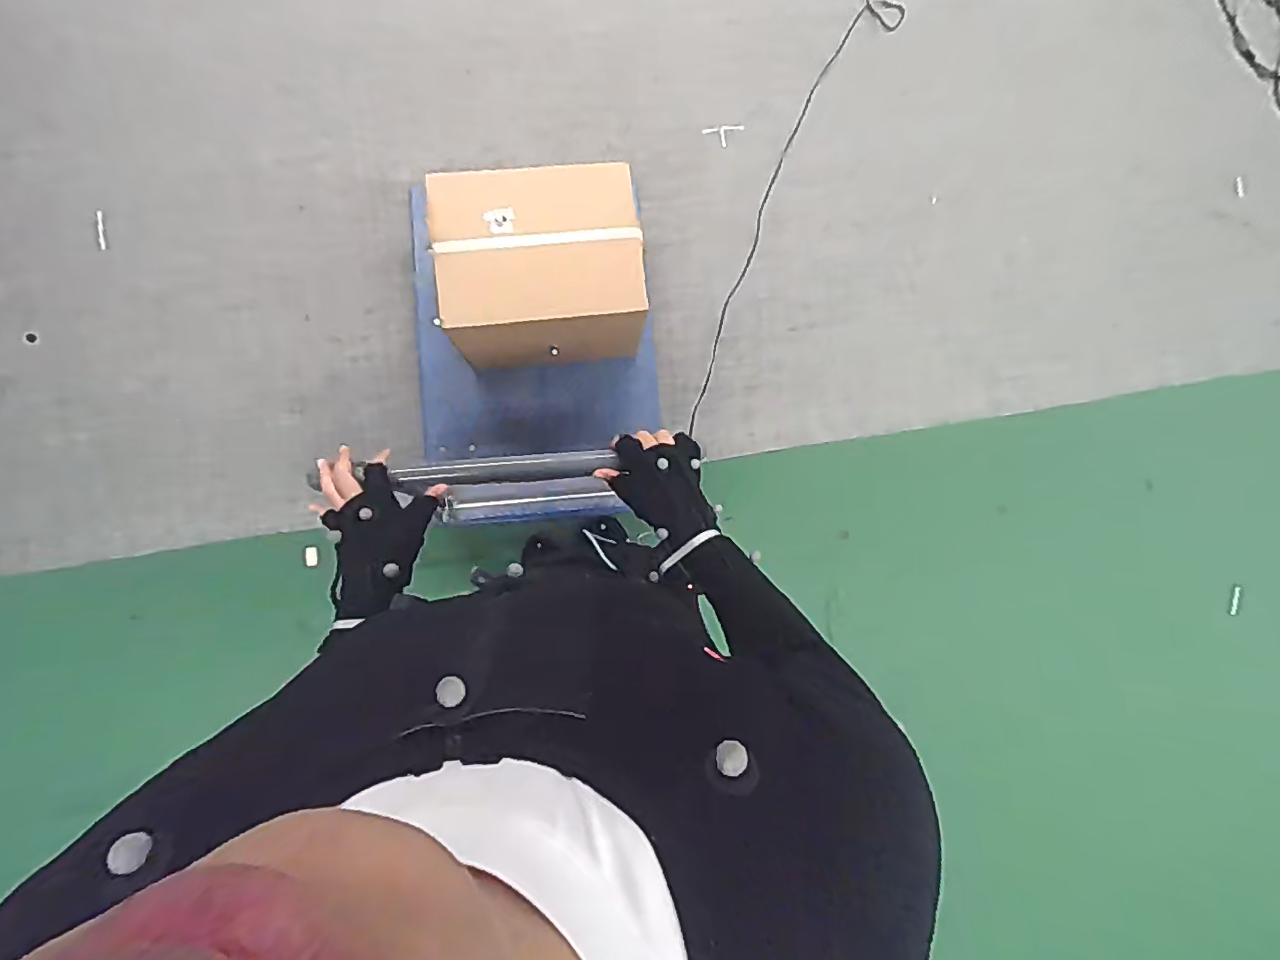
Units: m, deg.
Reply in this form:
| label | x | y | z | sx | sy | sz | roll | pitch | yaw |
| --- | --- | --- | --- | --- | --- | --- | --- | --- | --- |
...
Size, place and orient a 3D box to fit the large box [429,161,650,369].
| label | x | y | z | sx | sy | sz | roll | pitch | yaw |
| --- | --- | --- | --- | --- | --- | --- | --- | --- | --- |
| large box | -0.207 | -0.453 | 1.205 | 0.408 | 0.320 | 0.320 | -7 | 85 | -5 |
